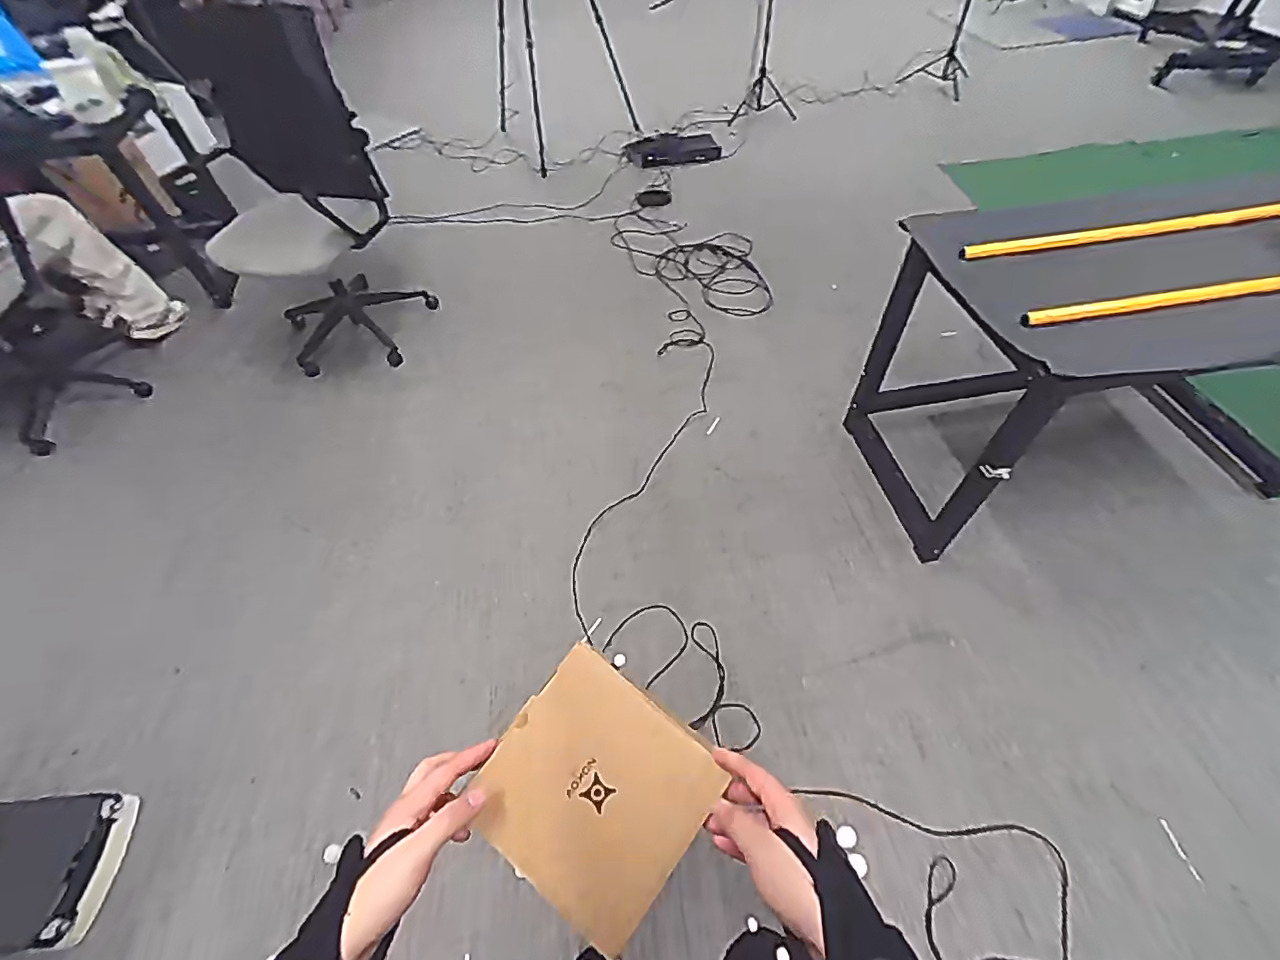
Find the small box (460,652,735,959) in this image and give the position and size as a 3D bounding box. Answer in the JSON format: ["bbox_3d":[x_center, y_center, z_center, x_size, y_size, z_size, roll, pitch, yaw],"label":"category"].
[{"bbox_3d":[-0.033,0.289,0.528,0.179,0.176,0.168,36,74,14],"label":"small box"}]
